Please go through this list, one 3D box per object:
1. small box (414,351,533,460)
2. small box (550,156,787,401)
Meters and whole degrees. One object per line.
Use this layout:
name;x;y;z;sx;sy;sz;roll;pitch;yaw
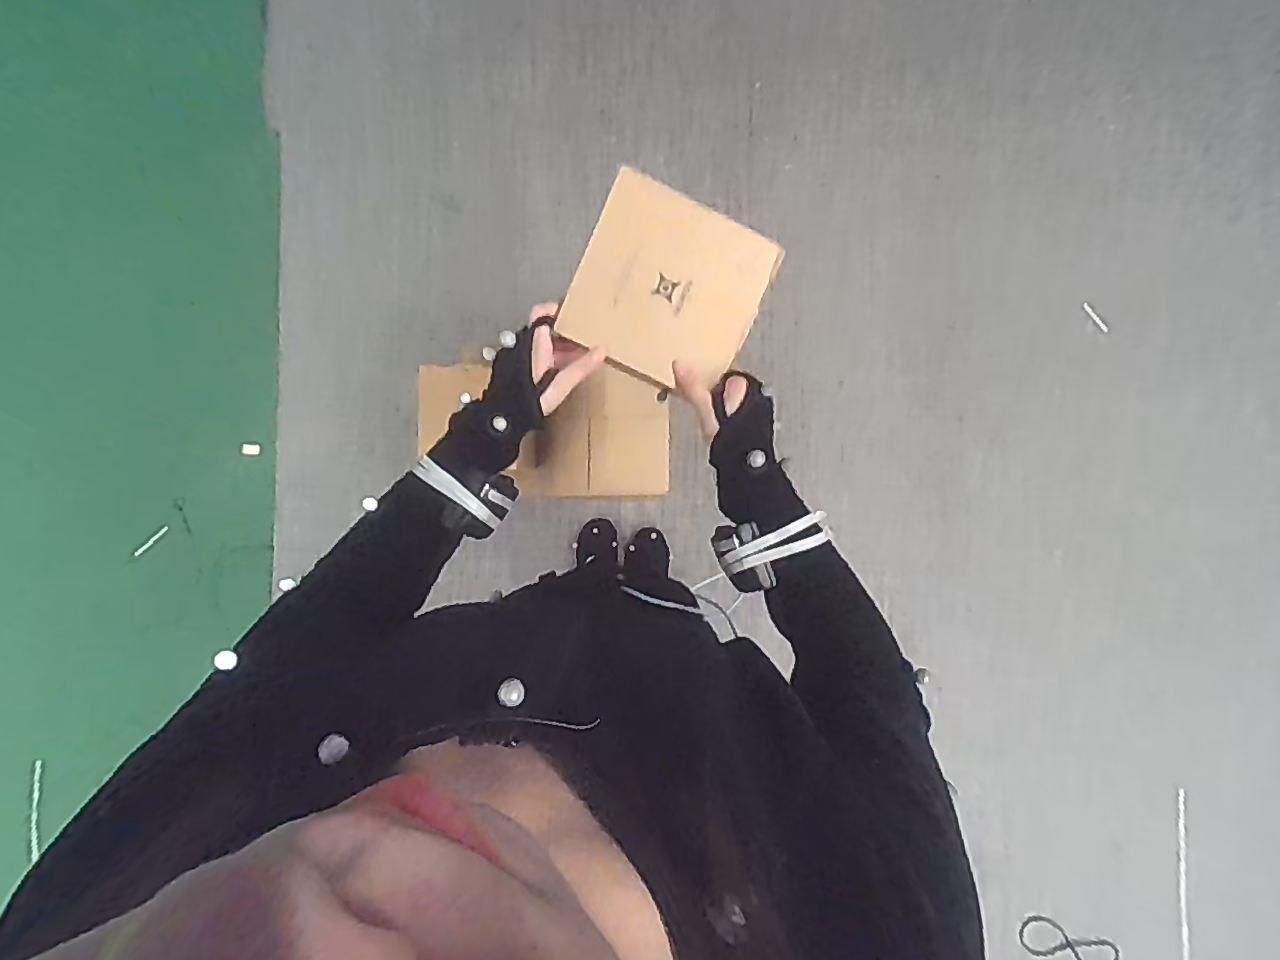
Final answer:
small box;-0.289;-0.125;0.968;0.168;0.176;0.179;1;91;-1
small box;0.022;-0.201;0.585;0.179;0.176;0.168;25;98;-8
